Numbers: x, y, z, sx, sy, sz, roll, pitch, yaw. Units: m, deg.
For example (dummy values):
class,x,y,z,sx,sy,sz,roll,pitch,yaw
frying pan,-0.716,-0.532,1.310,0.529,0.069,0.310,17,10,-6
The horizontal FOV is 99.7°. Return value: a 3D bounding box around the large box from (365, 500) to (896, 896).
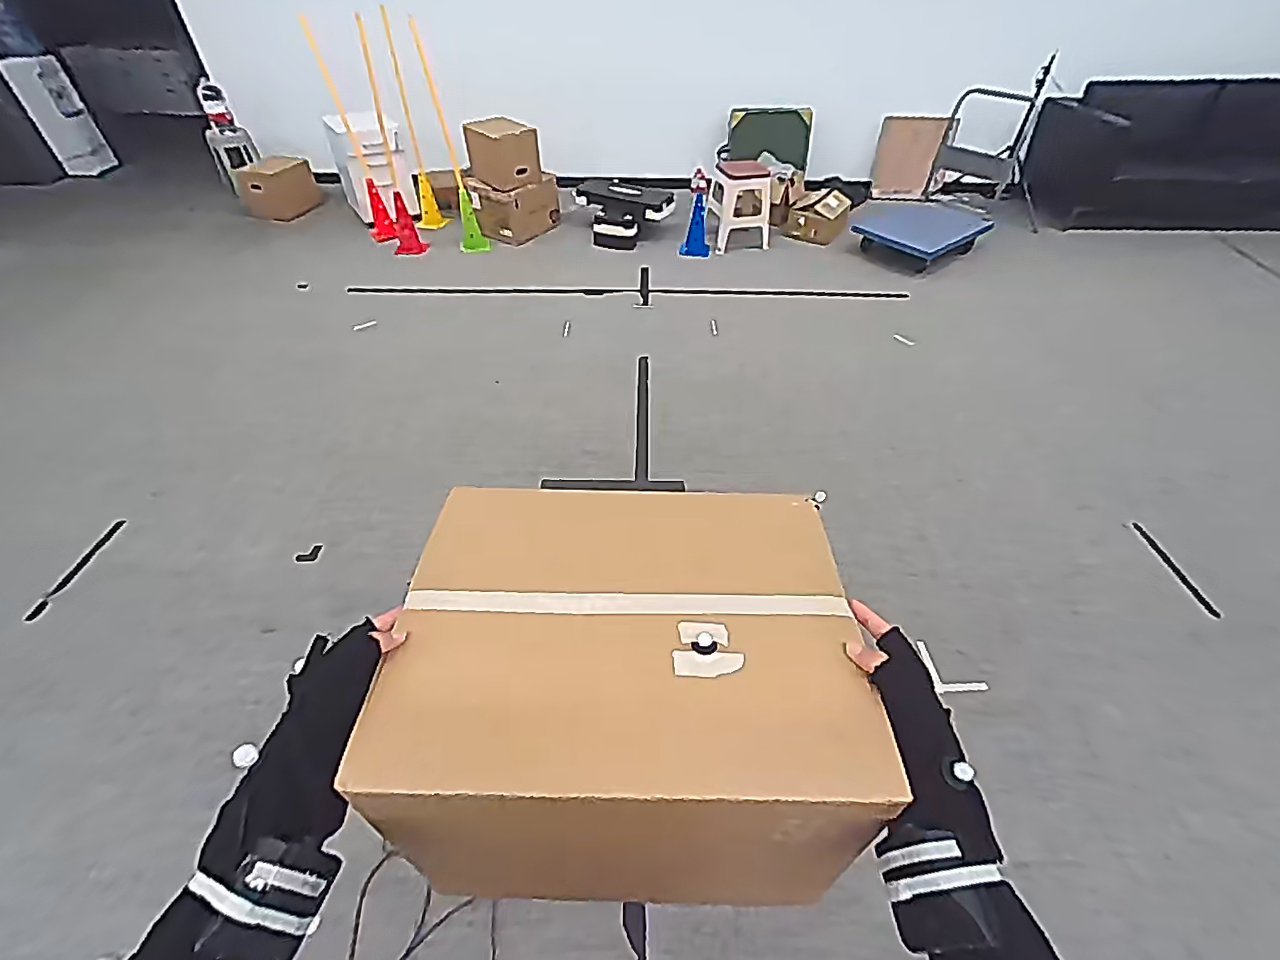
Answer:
class,x,y,z,sx,sy,sz,roll,pitch,yaw
large box,-0.009,0.238,0.605,0.408,0.320,0.320,1,41,0
